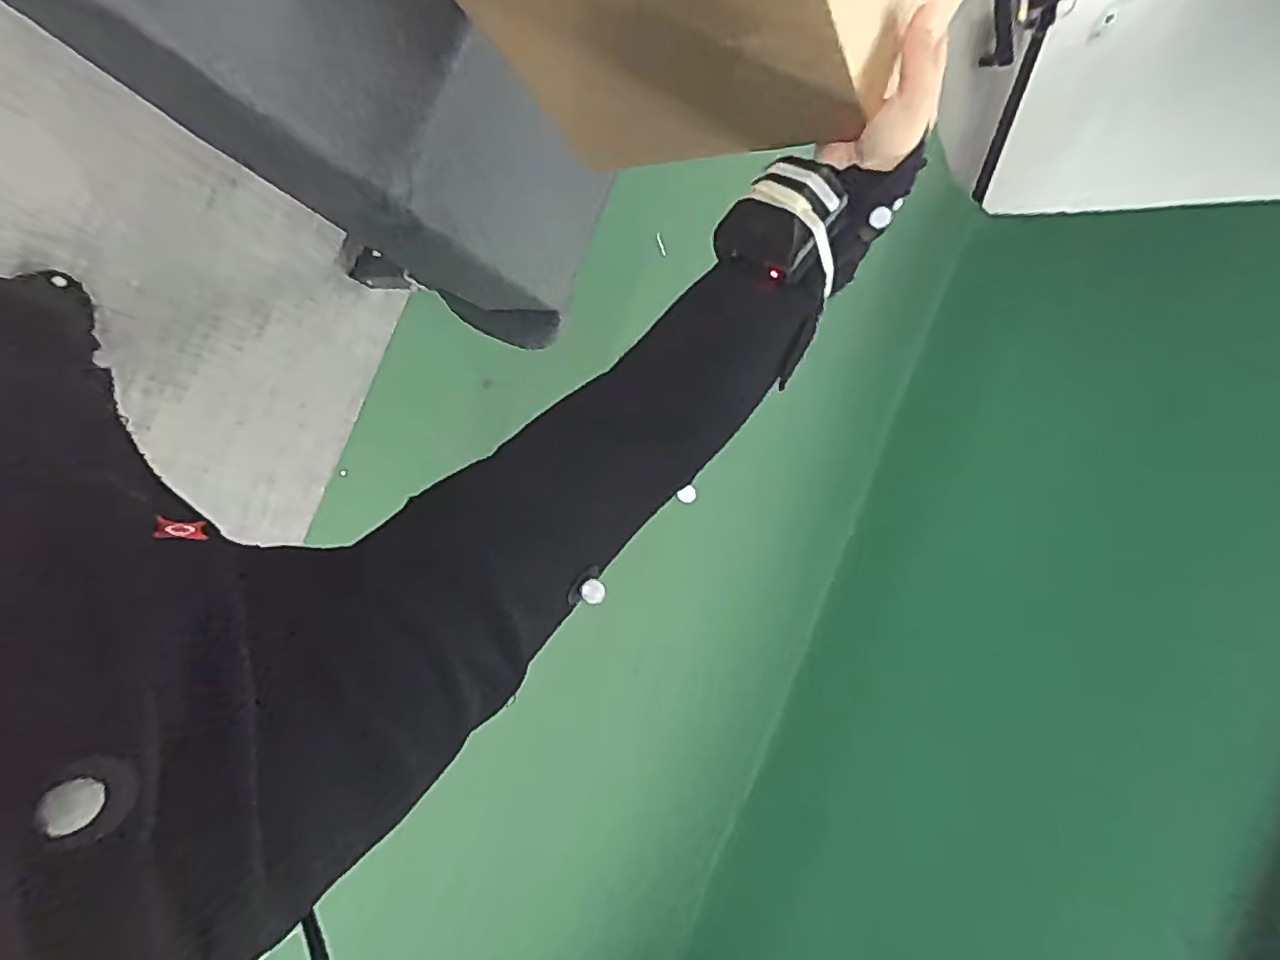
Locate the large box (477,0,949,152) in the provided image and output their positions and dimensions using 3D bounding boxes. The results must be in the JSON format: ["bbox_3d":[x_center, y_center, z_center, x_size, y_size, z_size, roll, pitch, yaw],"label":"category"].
[{"bbox_3d":[0.014,-0.483,0.314,0.408,0.320,0.320,34,86,-47],"label":"large box"}]
